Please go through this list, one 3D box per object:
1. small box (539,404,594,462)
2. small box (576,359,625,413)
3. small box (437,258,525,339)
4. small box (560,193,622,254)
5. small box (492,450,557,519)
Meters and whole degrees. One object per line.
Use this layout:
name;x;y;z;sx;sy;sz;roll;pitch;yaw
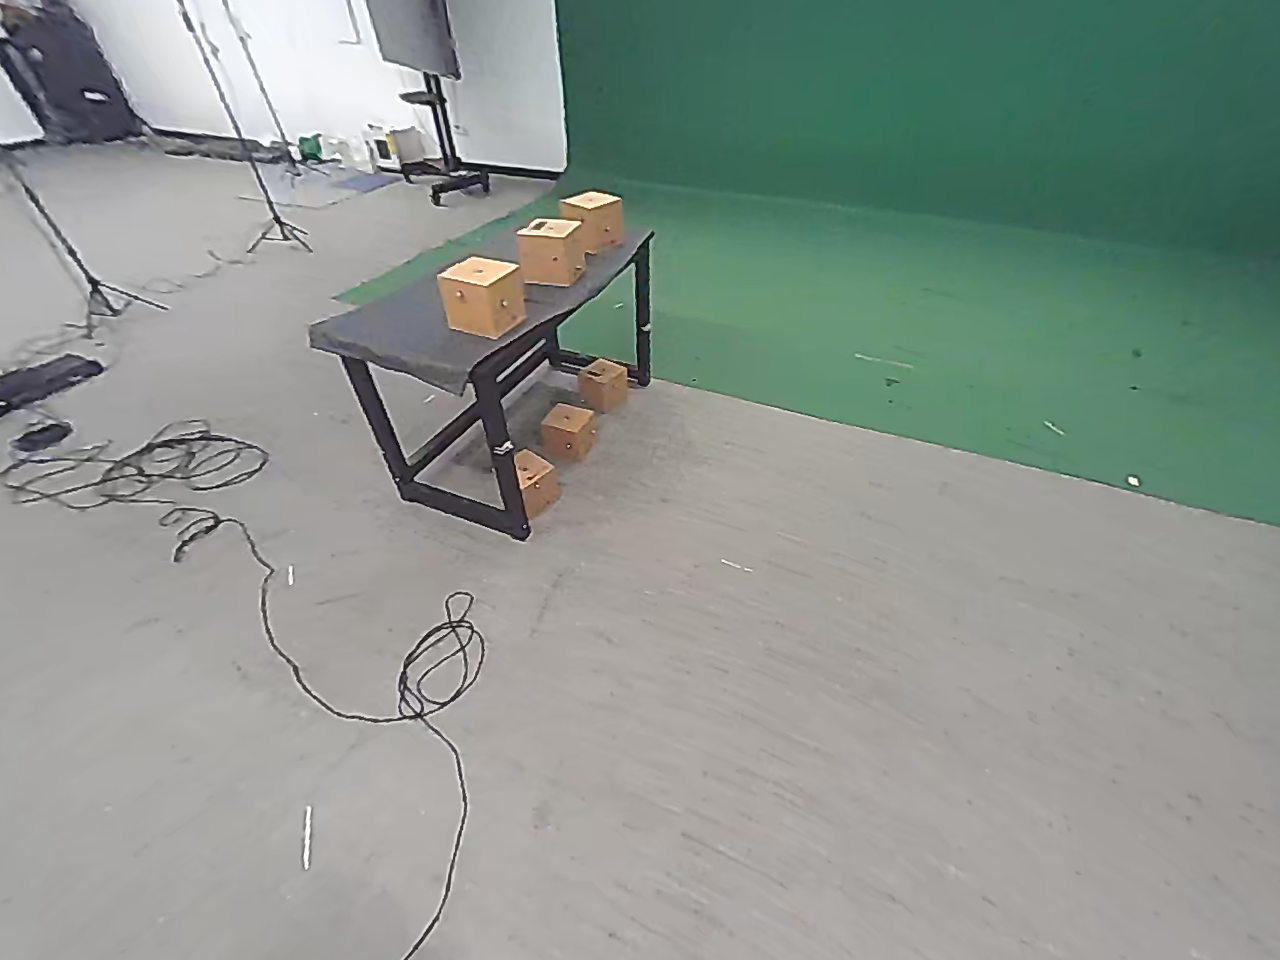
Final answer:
small box;-0.309;-0.196;2.317;0.179;0.176;0.168;14;44;17
small box;-0.183;-0.447;2.585;0.168;0.176;0.179;27;48;26
small box;-0.466;-0.540;1.618;0.179;0.176;0.168;18;46;19
small box;-0.185;-0.995;2.101;0.179;0.176;0.168;32;52;33
small box;-0.442;0.020;2.084;0.179;0.176;0.168;30;51;29
